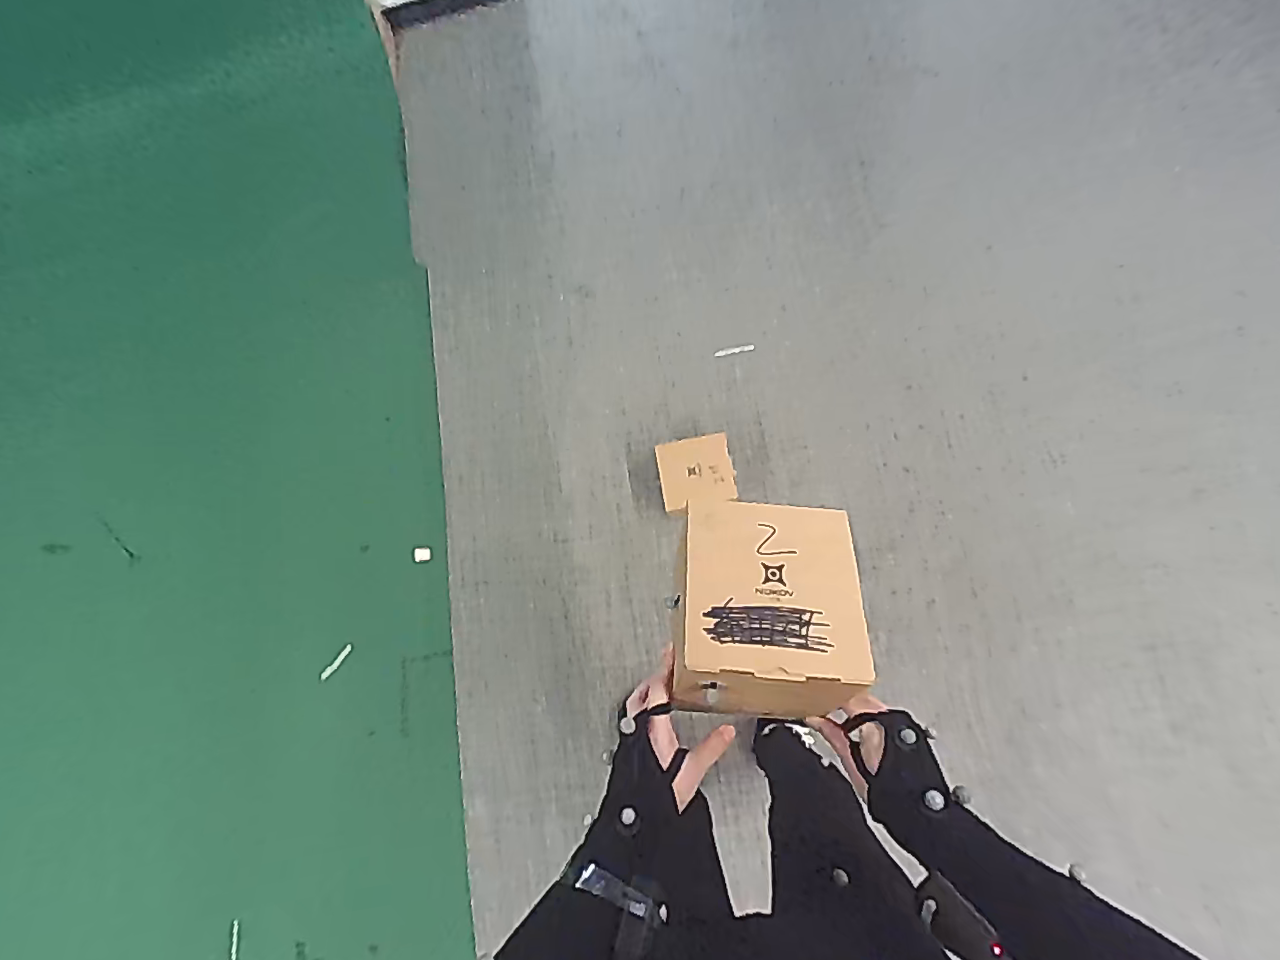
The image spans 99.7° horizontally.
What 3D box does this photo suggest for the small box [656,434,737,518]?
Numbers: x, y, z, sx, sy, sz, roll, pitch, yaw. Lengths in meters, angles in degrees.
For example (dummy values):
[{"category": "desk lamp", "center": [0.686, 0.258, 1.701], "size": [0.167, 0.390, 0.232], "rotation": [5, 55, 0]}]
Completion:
[{"category": "small box", "center": [0.148, -0.003, 1.377], "size": [0.179, 0.176, 0.168], "rotation": [-10, 78, 6]}]
